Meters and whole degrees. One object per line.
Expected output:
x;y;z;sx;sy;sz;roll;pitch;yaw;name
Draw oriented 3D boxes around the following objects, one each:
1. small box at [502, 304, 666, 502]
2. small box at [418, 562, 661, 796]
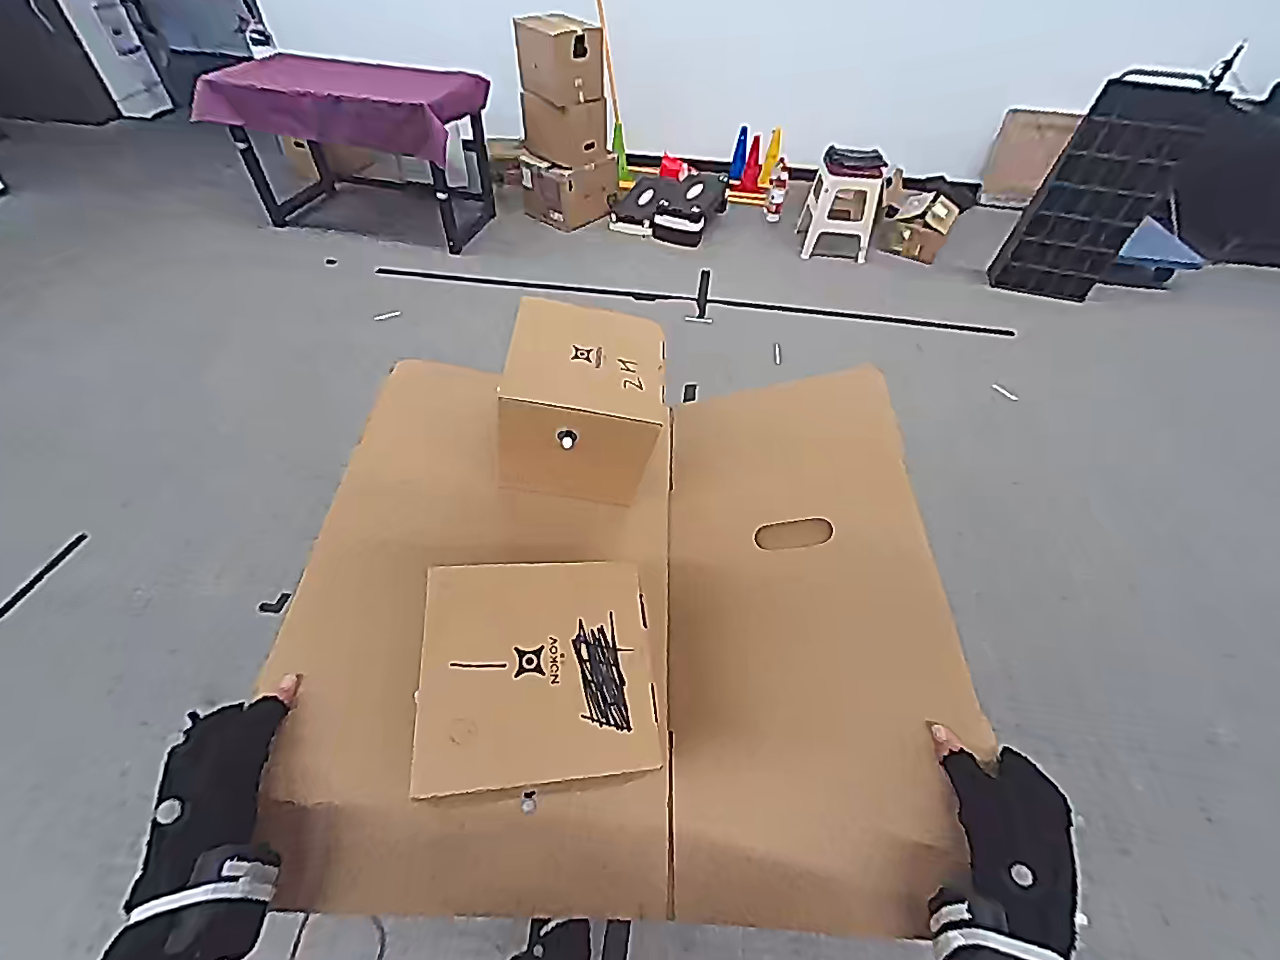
-0.073;-0.089;0.685;0.179;0.176;0.168;10;55;-9;small box
-0.093;0.184;0.495;0.179;0.176;0.168;1;57;-14;small box
